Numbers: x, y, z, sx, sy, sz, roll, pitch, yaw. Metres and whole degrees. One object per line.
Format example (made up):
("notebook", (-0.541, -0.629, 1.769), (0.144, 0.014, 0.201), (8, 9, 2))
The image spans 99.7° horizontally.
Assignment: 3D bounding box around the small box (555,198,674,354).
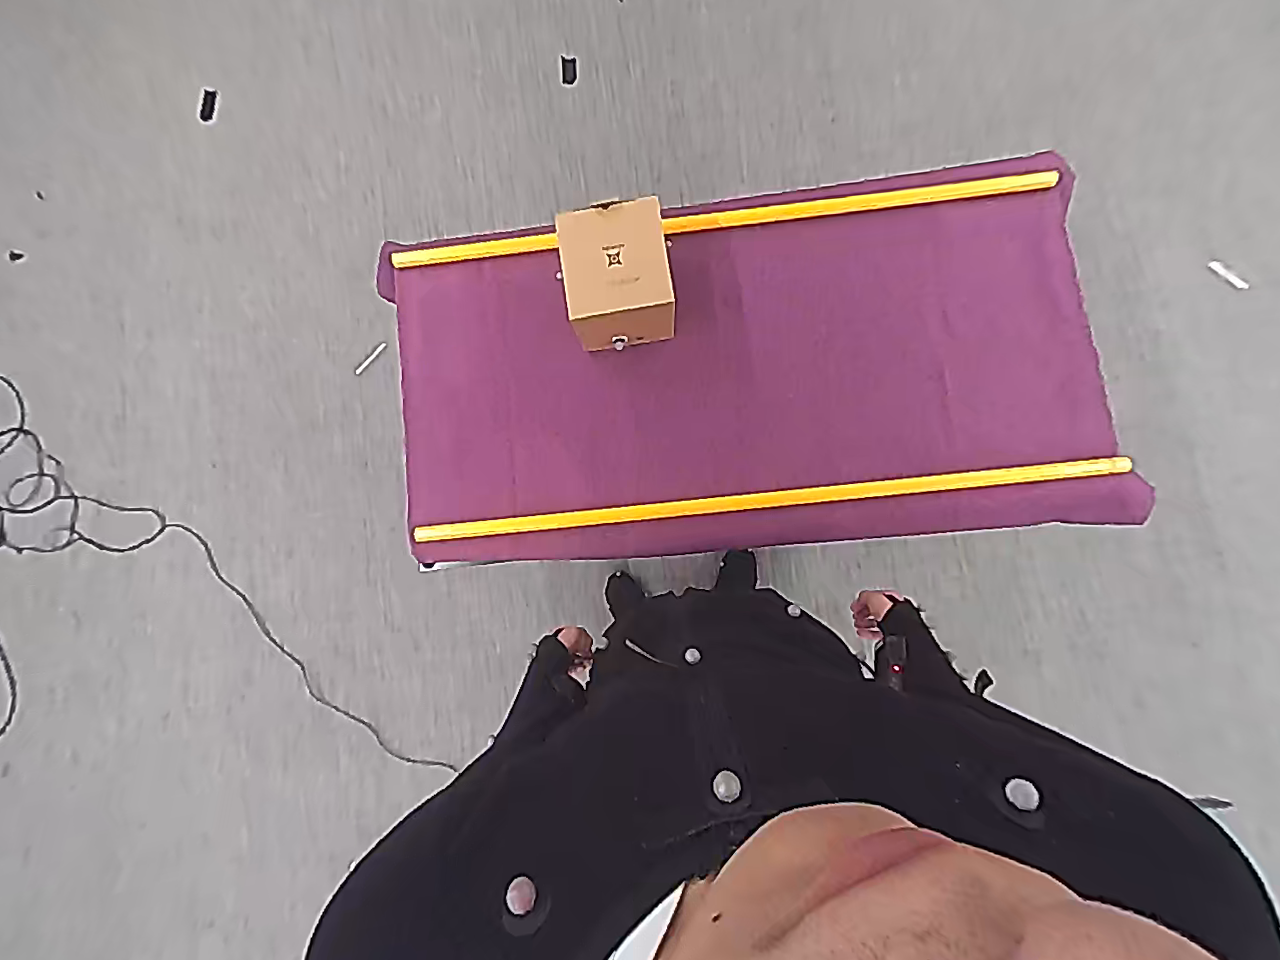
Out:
("small box", (-0.037, -0.332, 0.907), (0.168, 0.176, 0.179), (-9, 84, 2))
